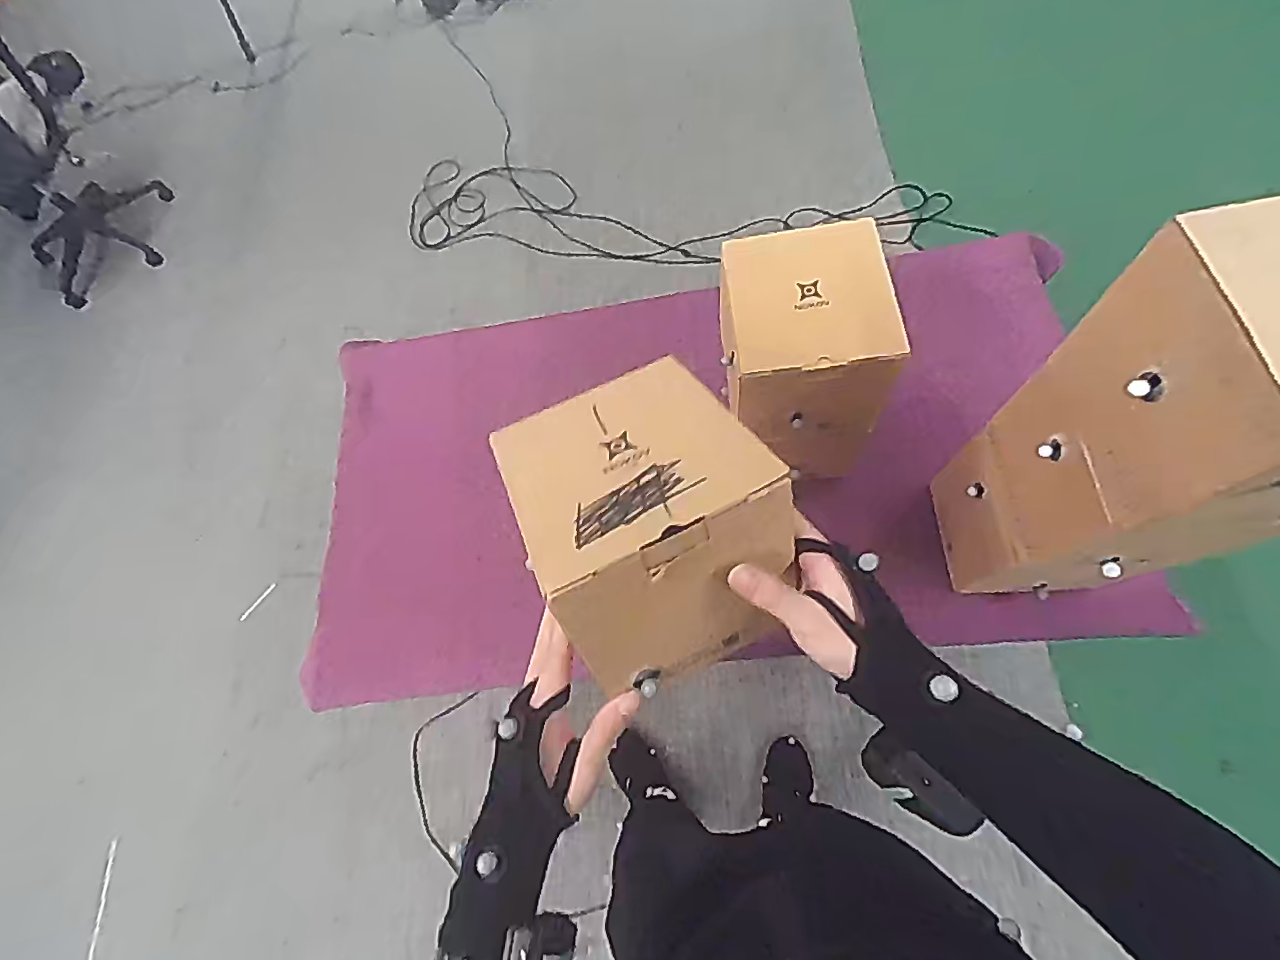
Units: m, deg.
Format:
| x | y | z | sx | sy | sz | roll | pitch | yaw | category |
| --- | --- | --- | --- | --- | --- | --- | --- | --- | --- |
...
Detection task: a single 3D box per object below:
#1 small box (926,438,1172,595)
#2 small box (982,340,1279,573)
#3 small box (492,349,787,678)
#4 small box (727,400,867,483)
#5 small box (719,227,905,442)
| x | y | z | sx | sy | sz | roll | pitch | yaw | category |
| --- | --- | --- | --- | --- | --- | --- | --- | --- | --- |
| 0.496 | 0.050 | 0.688 | 0.179 | 0.176 | 0.168 | -4 | 68 | 8 | small box |
| 0.473 | -0.012 | 0.537 | 0.168 | 0.176 | 0.179 | -4 | 69 | 9 | small box |
| 0.004 | 0.032 | 0.432 | 0.168 | 0.176 | 0.179 | -24 | 45 | -7 | small box |
| 0.215 | -0.104 | 0.789 | 0.168 | 0.176 | 0.179 | -3 | 70 | 8 | small box |
| 0.184 | -0.160 | 0.639 | 0.168 | 0.176 | 0.179 | -6 | 70 | 6 | small box |
